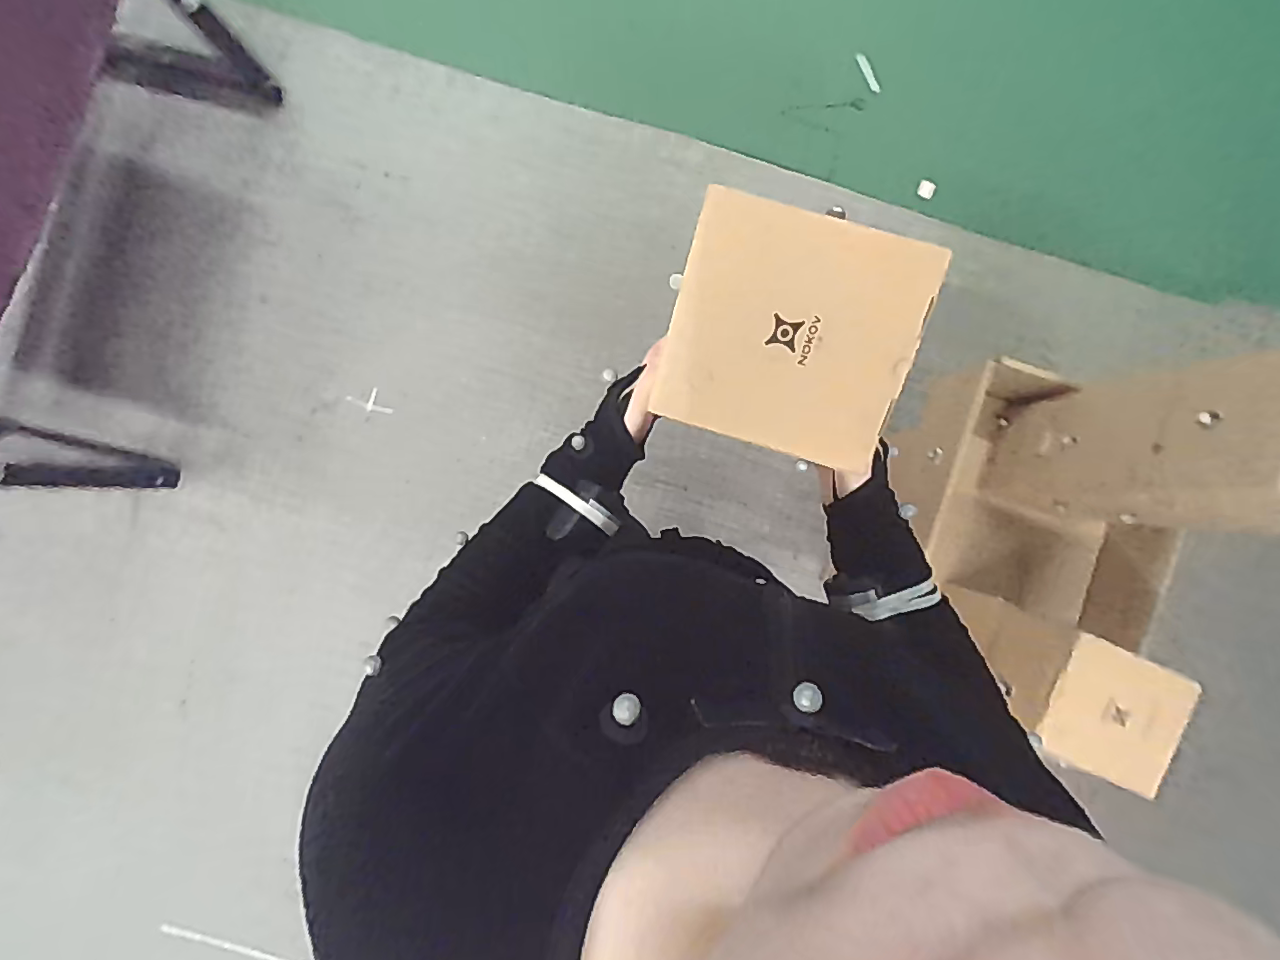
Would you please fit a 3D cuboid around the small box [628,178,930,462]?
[{"bbox_3d":[0.102,-0.127,0.465,0.179,0.176,0.168,16,104,2],"label":"small box"}]

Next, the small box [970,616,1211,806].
[{"bbox_3d":[0.622,0.311,0.774,0.179,0.176,0.168,25,90,0],"label":"small box"}]
